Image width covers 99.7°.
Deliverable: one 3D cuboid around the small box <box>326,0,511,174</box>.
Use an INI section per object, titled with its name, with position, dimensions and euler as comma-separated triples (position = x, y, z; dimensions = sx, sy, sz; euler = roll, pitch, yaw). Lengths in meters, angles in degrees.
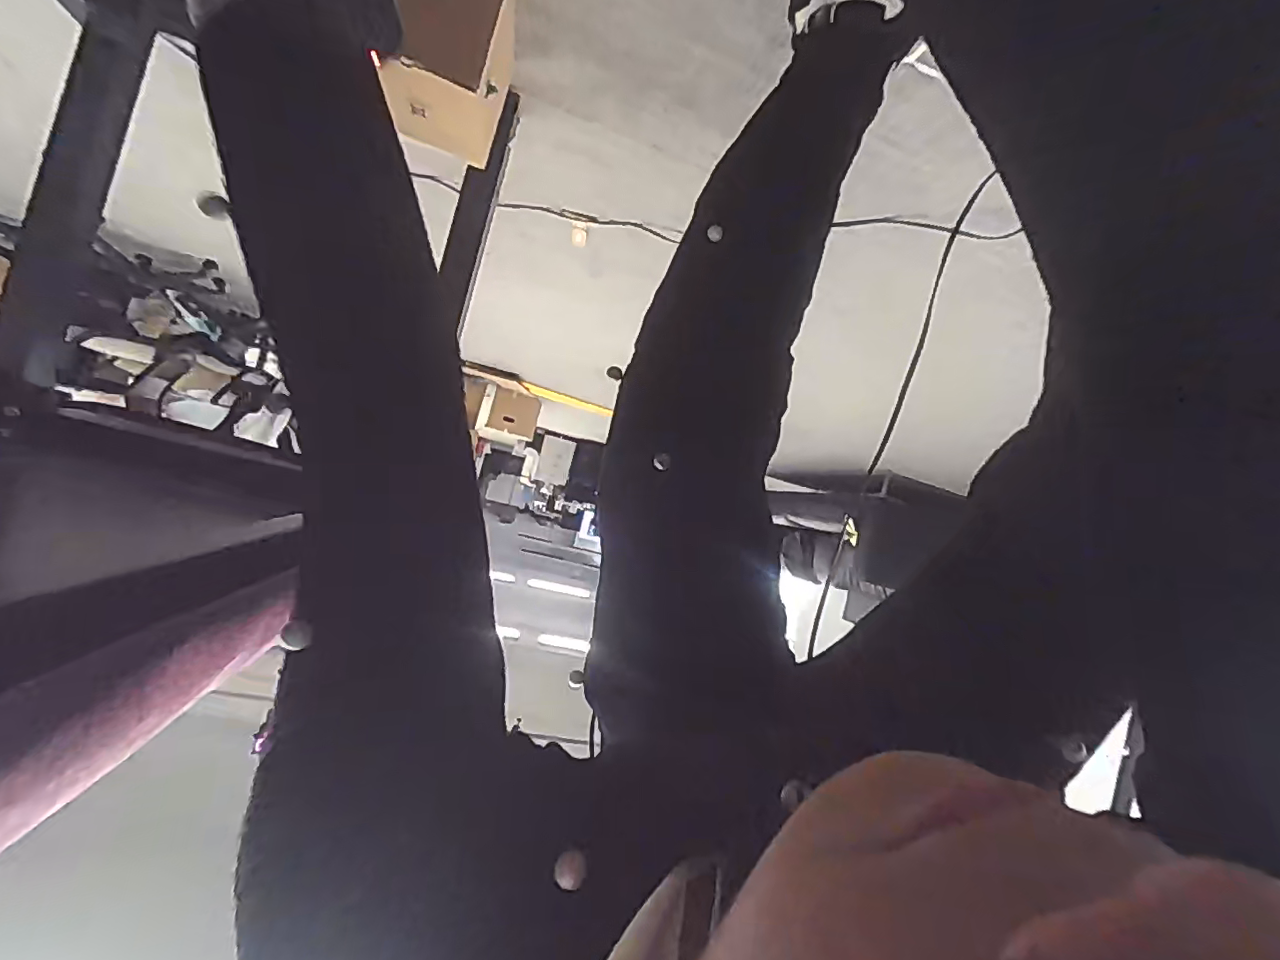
[small box]
position = -0.268, -0.548, 0.698
dimensions = 0.168, 0.176, 0.179
euler = 15, 177, -12
